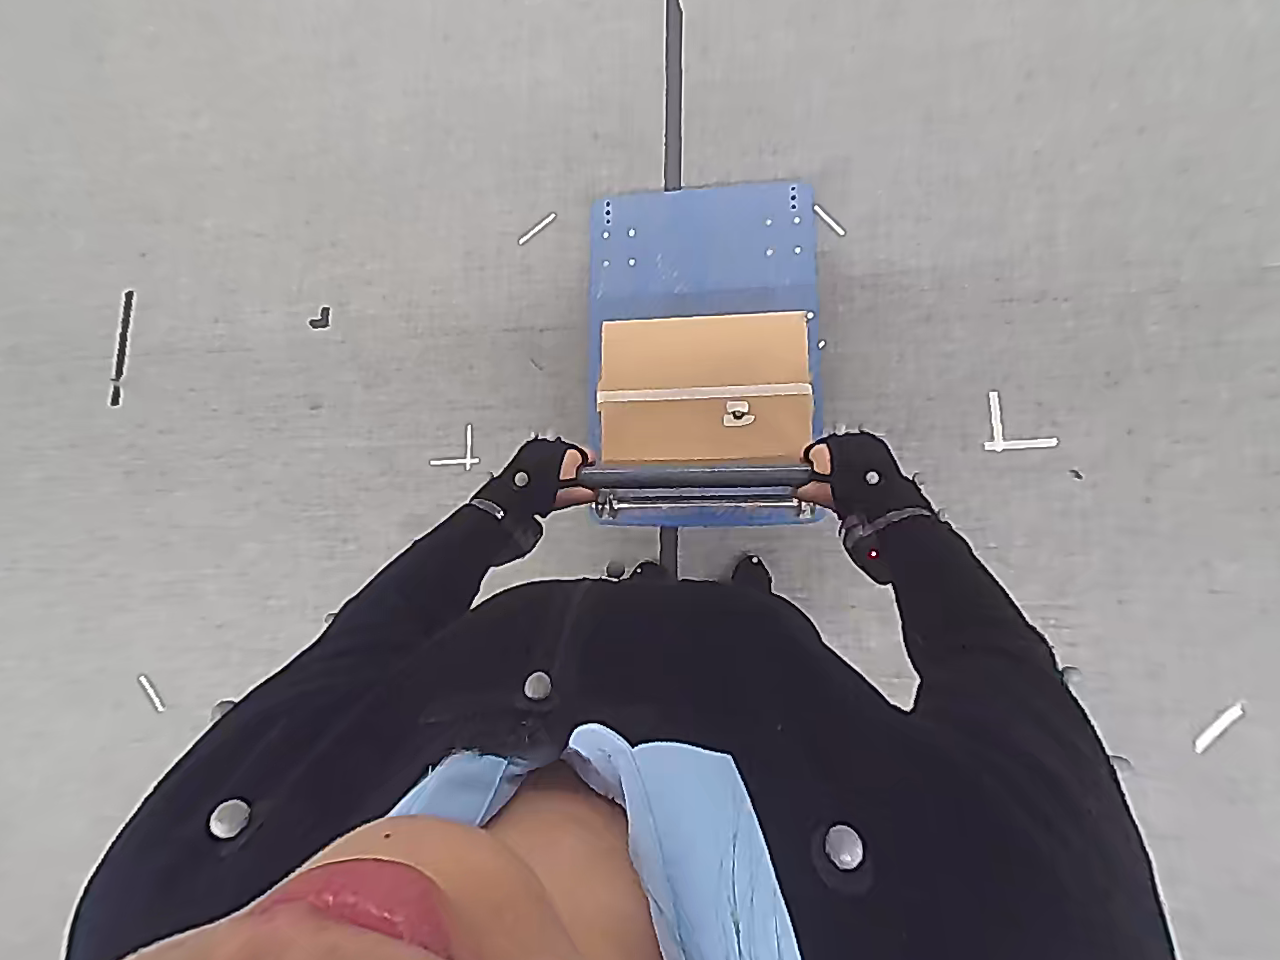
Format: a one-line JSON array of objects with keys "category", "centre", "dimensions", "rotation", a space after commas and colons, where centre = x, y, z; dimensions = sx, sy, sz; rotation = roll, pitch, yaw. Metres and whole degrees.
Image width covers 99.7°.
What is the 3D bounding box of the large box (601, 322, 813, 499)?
[{"category": "large box", "centre": [0.137, -0.128, 1.187], "dimensions": [0.408, 0.320, 0.320], "rotation": [-1, 84, 6]}]
